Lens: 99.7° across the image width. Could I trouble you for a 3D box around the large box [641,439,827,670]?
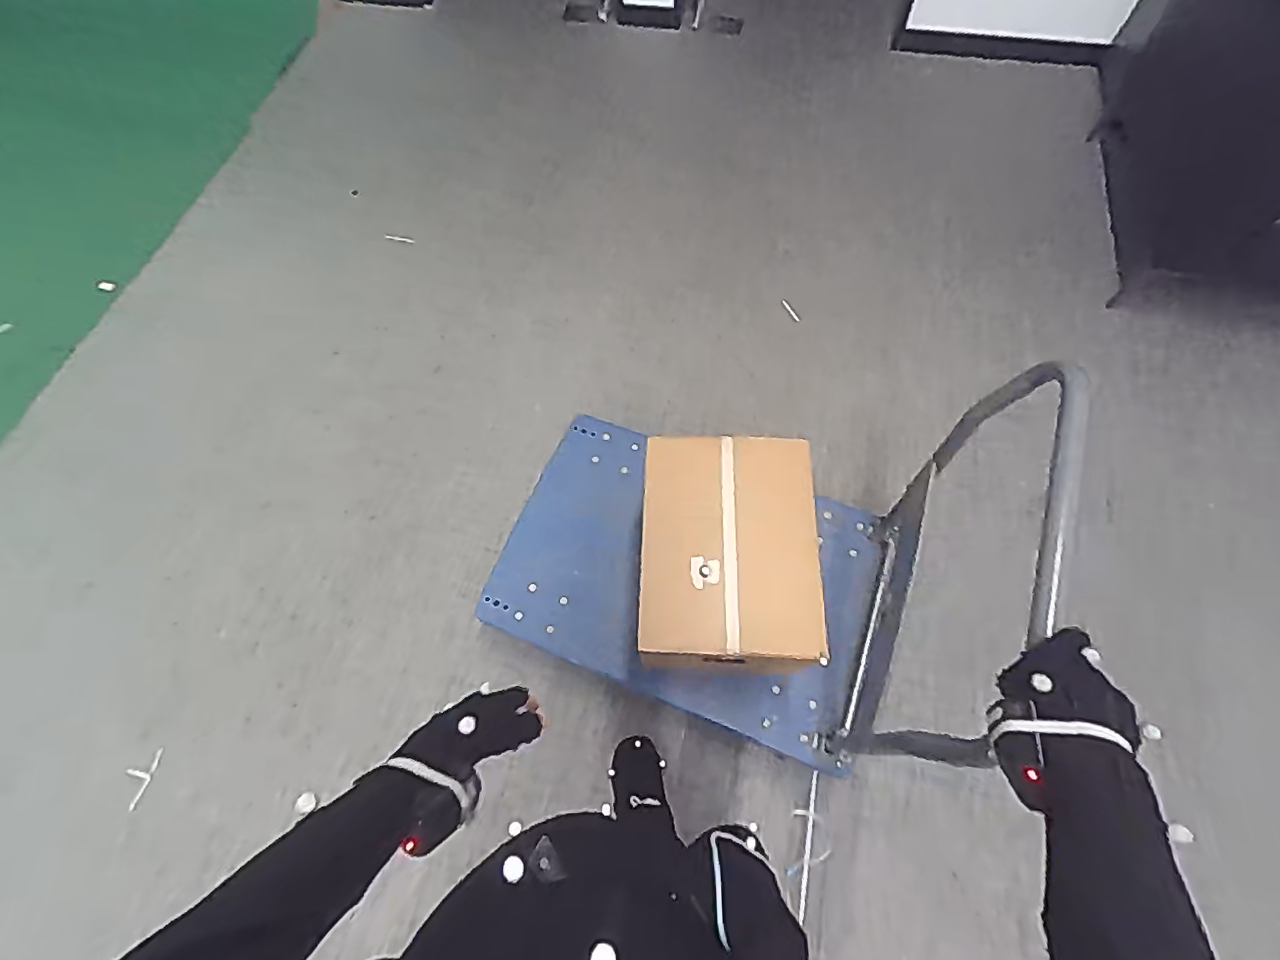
[{"bbox_3d":[0.165,0.162,1.105,0.320,0.320,0.408,2,67,3],"label":"large box"}]
